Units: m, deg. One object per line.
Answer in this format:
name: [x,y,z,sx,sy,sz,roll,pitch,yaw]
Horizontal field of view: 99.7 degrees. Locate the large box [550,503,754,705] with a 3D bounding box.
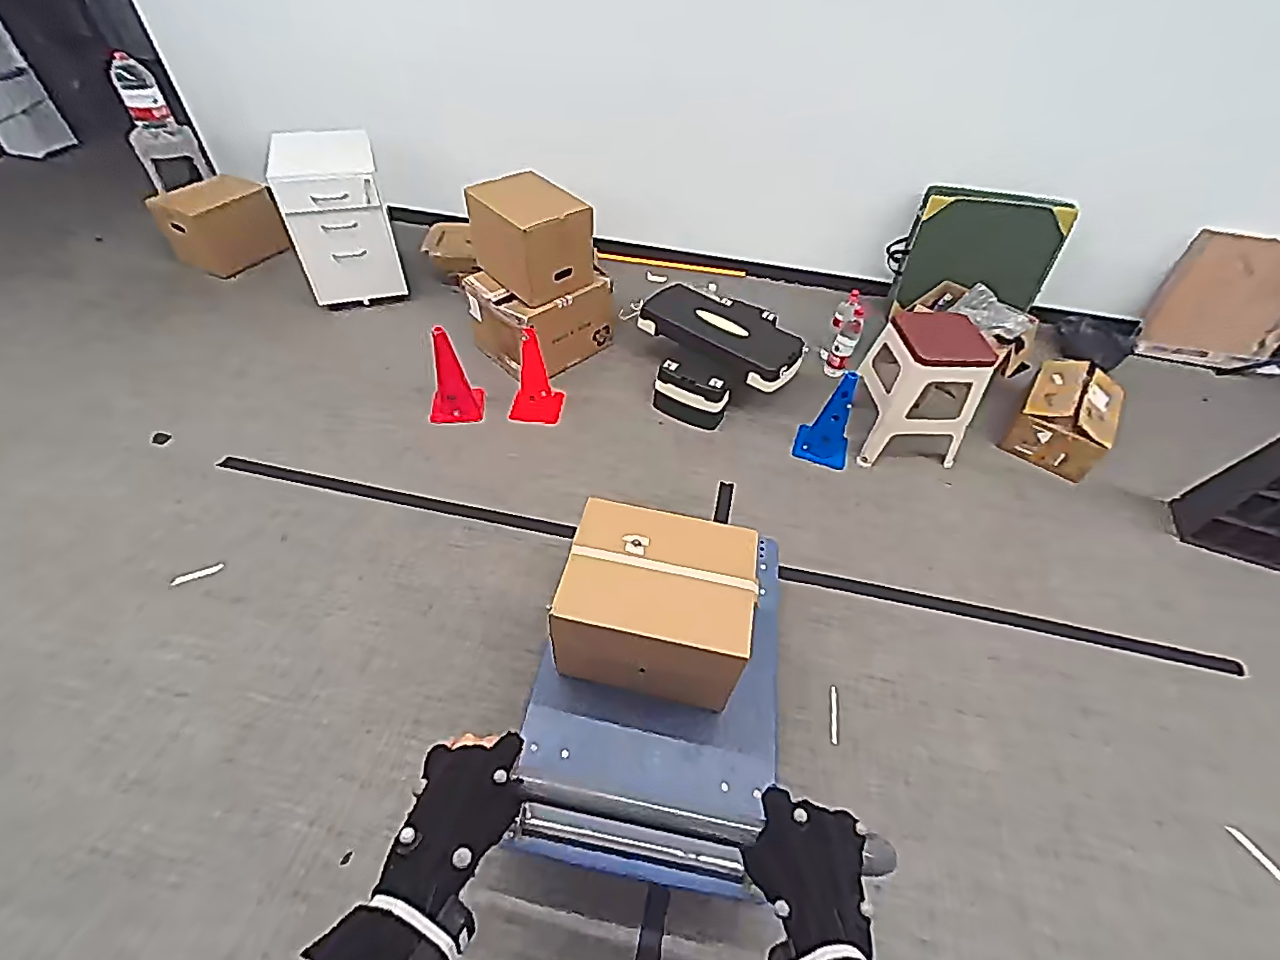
large box: [0.036,0.297,1.282,0.408,0.320,0.320,11,49,6]
